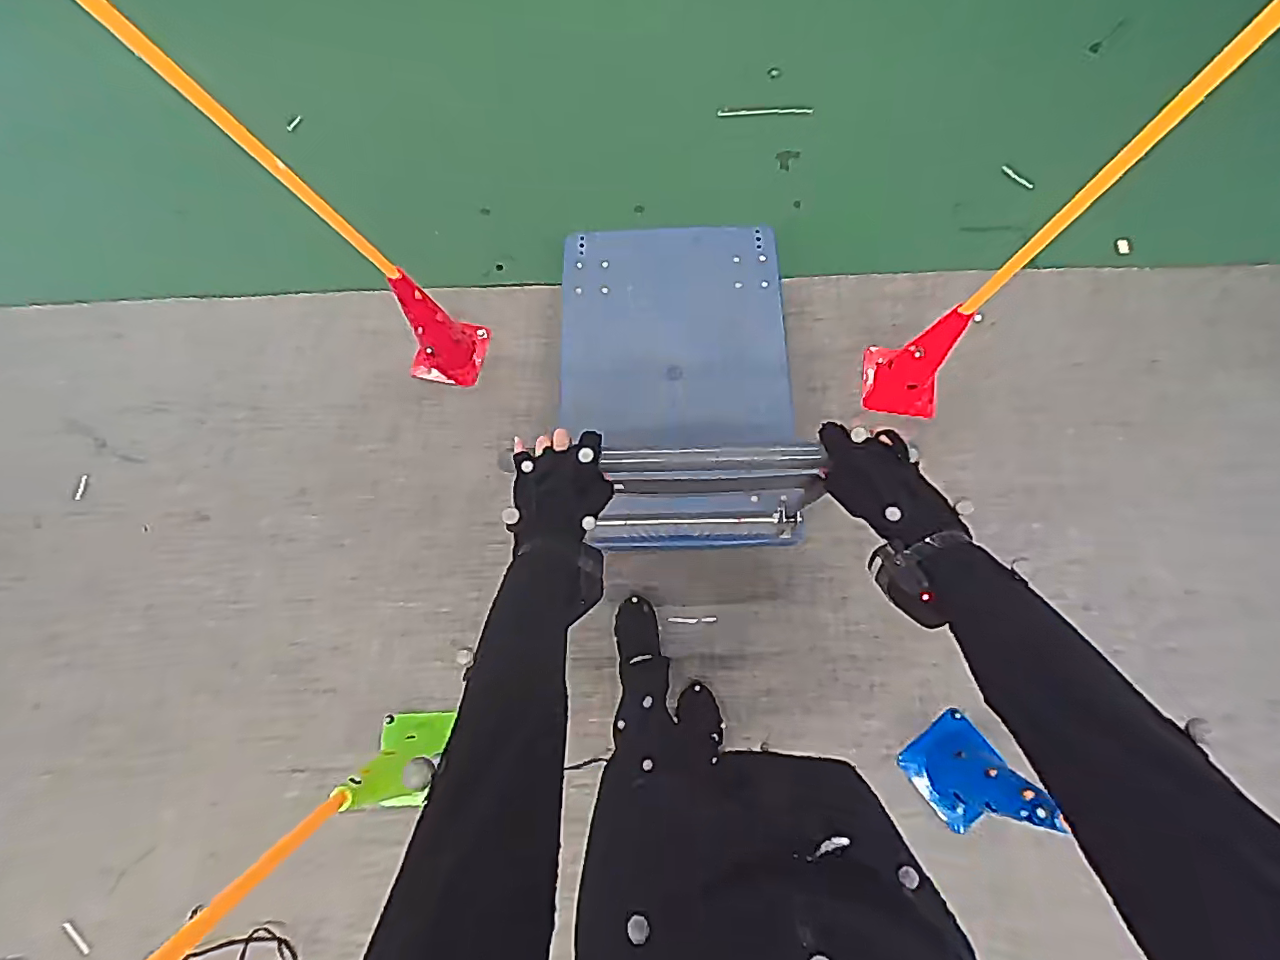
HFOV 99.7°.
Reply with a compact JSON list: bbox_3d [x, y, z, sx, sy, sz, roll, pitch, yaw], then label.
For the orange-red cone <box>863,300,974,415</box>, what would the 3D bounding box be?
[{"bbox_3d":[0.719,-0.327,1.343,0.198,0.360,0.199,9,75,6],"label":"orange-red cone"}]
